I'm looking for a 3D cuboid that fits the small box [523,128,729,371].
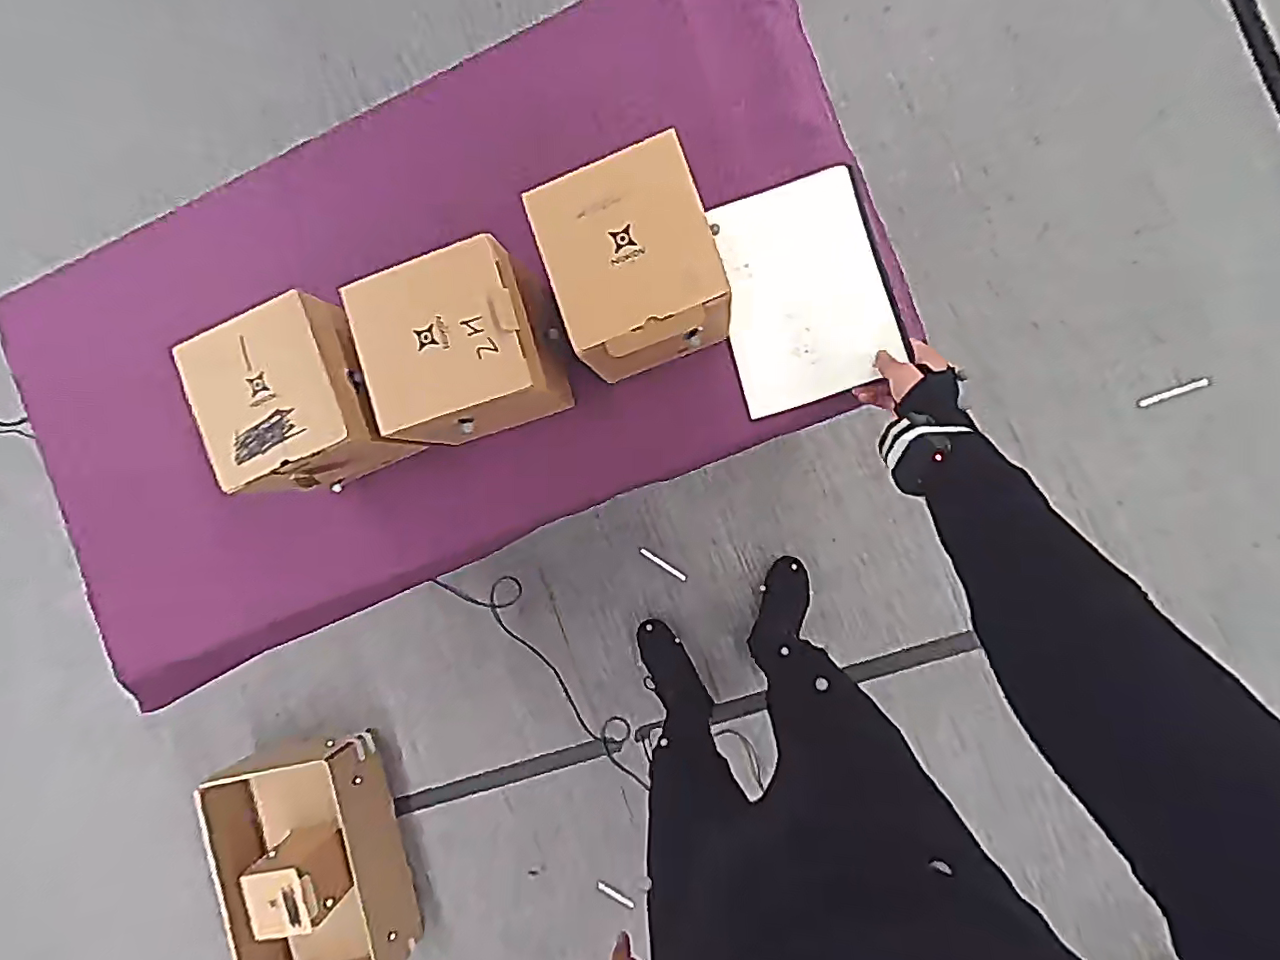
[{"bbox_3d":[-0.004,-0.234,0.606,0.168,0.176,0.179,-19,87,7],"label":"small box"}]
